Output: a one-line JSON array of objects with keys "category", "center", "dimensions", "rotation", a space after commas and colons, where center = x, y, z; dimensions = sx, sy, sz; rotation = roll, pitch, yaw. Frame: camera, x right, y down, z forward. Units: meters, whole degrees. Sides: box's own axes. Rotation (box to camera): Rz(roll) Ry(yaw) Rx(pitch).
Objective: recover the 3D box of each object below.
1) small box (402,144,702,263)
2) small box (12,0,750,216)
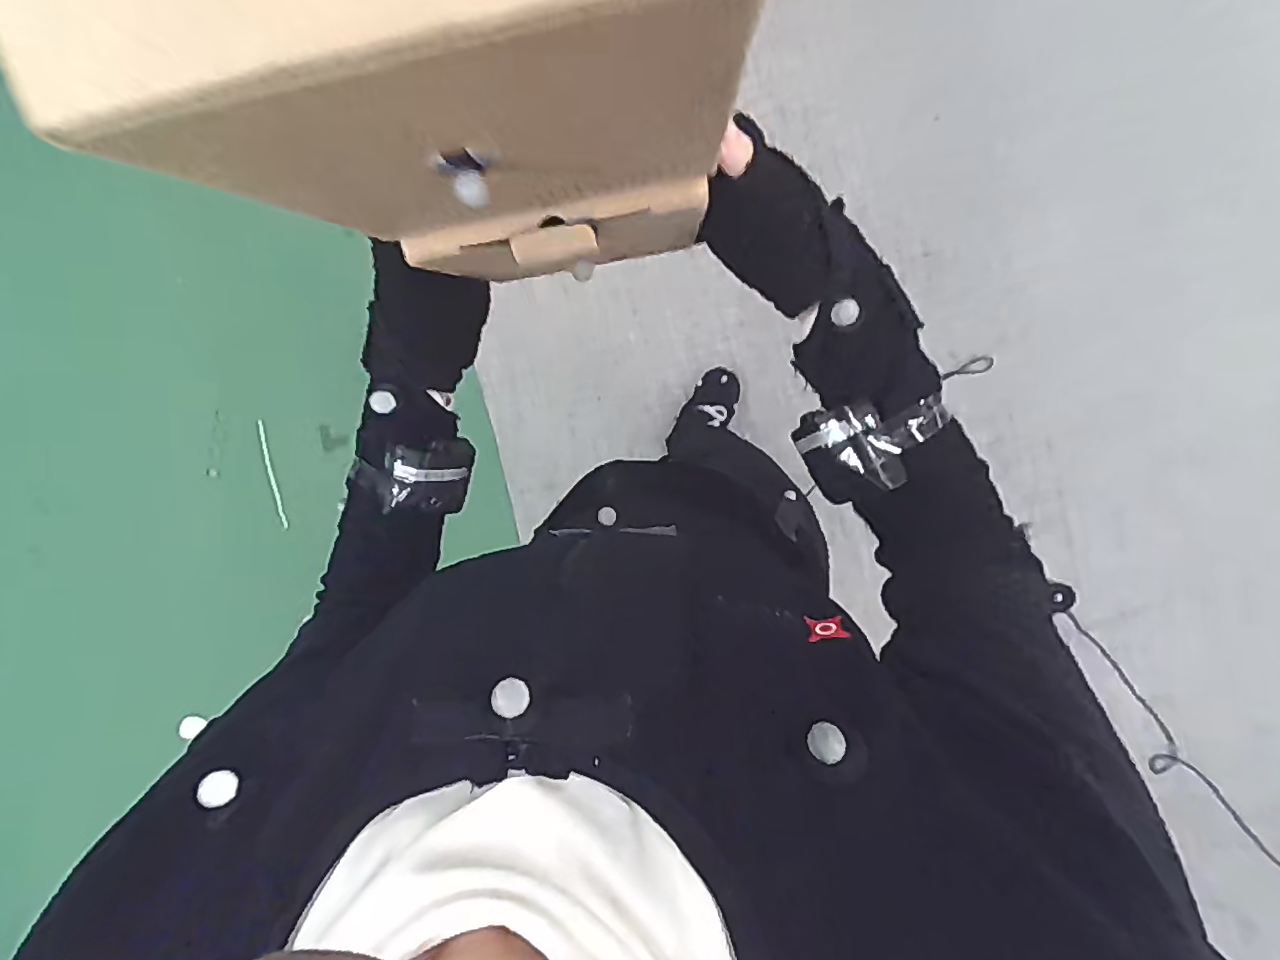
[{"category": "small box", "center": [-0.052, -0.240, 0.339], "dimensions": [0.168, 0.176, 0.179], "rotation": [-7, 106, 6]}, {"category": "small box", "center": [-0.064, -0.200, 0.178], "dimensions": [0.179, 0.176, 0.168], "rotation": [-6, 105, 7]}]
